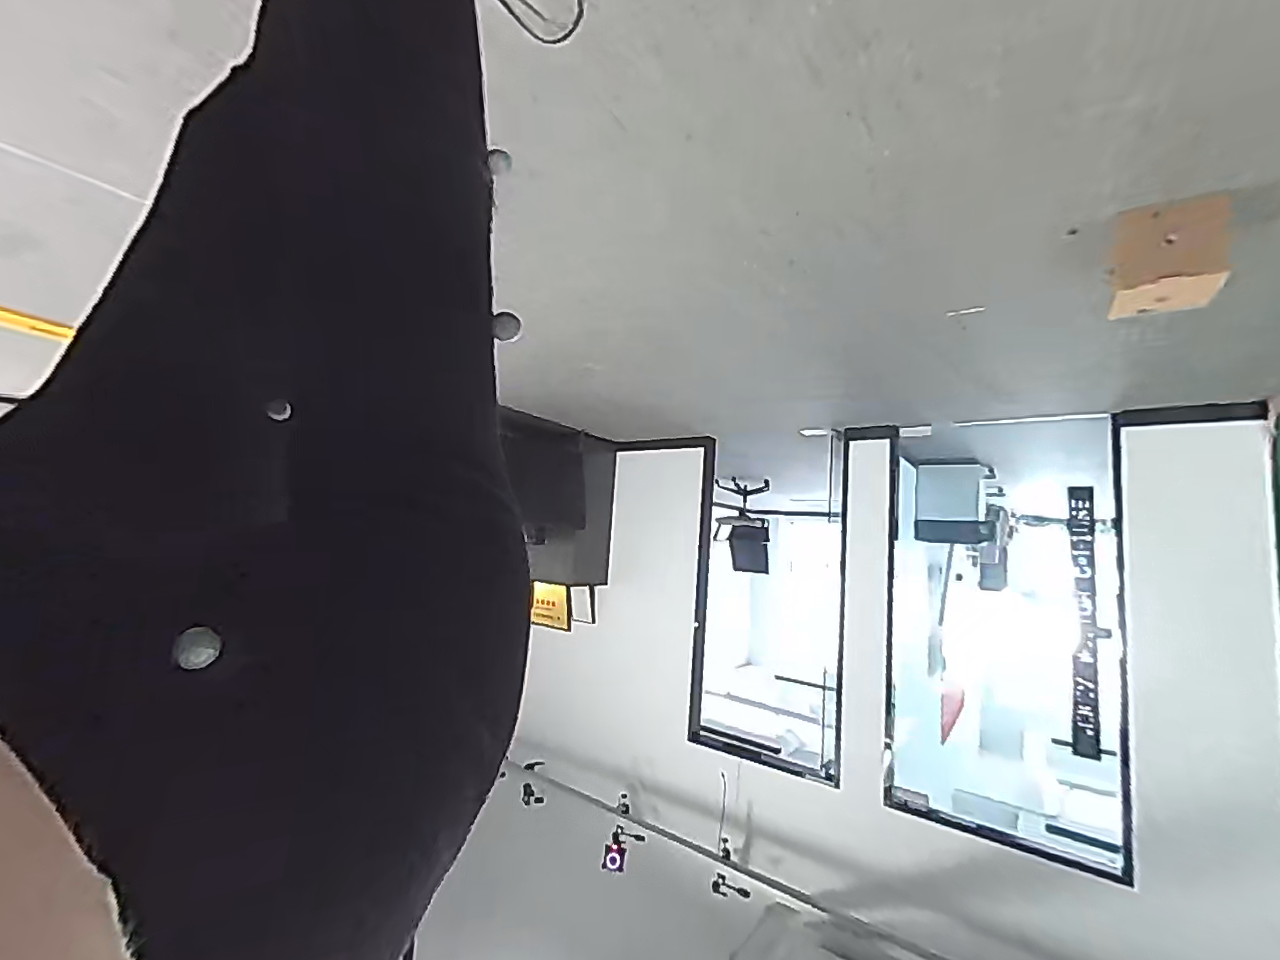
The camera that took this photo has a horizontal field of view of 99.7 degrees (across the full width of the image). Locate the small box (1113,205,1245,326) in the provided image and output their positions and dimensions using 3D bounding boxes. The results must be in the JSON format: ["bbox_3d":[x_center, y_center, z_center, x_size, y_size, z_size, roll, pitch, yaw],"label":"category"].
[{"bbox_3d":[1.110,-0.447,1.129,0.168,0.176,0.179,0,172,34],"label":"small box"}]
